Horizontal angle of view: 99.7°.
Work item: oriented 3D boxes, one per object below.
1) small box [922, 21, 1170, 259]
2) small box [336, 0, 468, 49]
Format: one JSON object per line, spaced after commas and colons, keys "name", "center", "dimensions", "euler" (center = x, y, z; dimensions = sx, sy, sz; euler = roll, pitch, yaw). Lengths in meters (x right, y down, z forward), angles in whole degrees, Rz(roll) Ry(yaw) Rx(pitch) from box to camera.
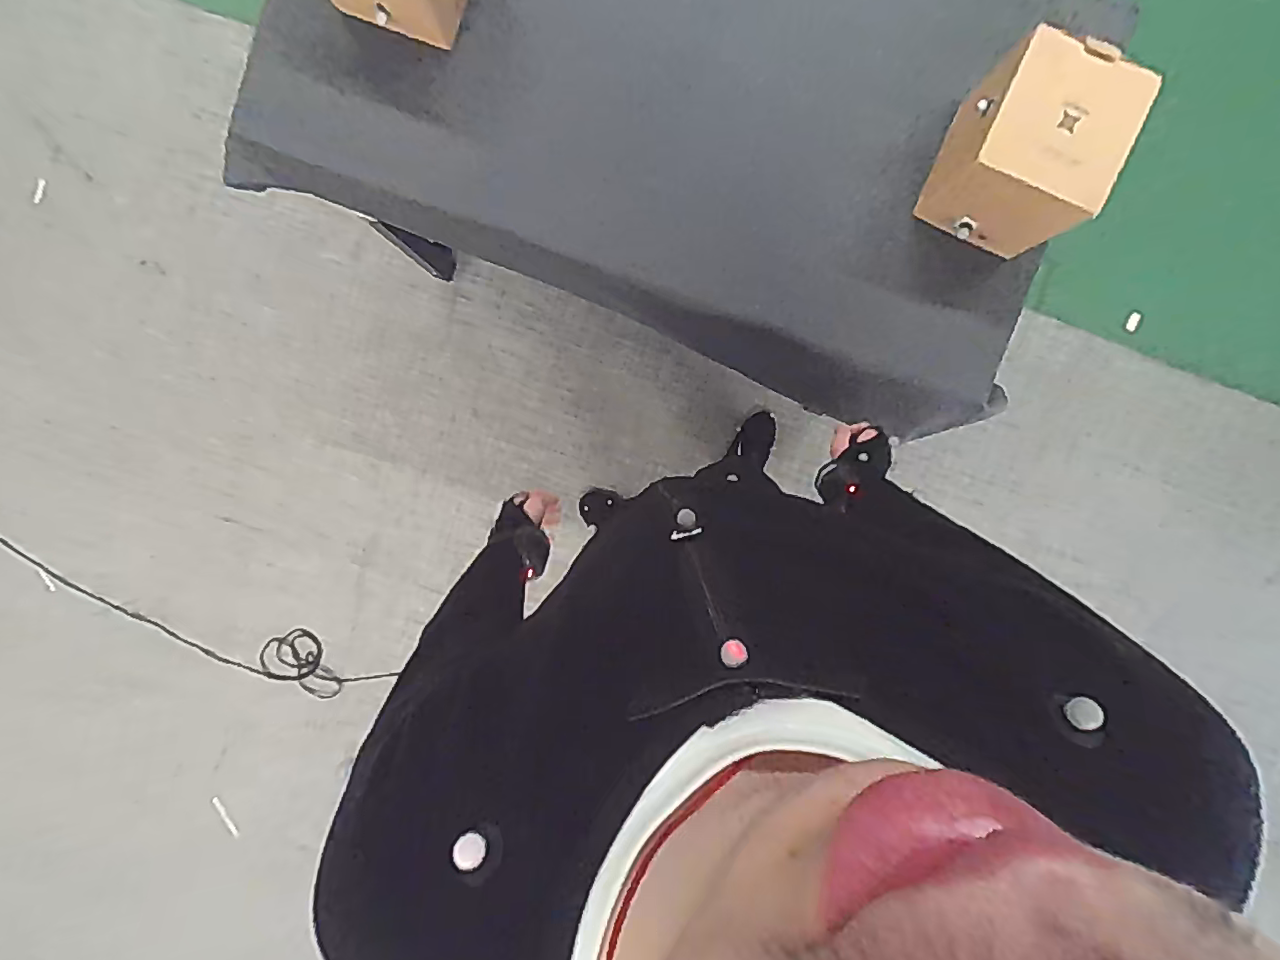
{"name": "small box", "center": [0.515, -0.431, 0.718], "dimensions": [0.168, 0.176, 0.179], "euler": [26, 94, 0]}
{"name": "small box", "center": [-0.324, -0.722, 0.710], "dimensions": [0.179, 0.176, 0.168], "euler": [19, 93, -3]}
